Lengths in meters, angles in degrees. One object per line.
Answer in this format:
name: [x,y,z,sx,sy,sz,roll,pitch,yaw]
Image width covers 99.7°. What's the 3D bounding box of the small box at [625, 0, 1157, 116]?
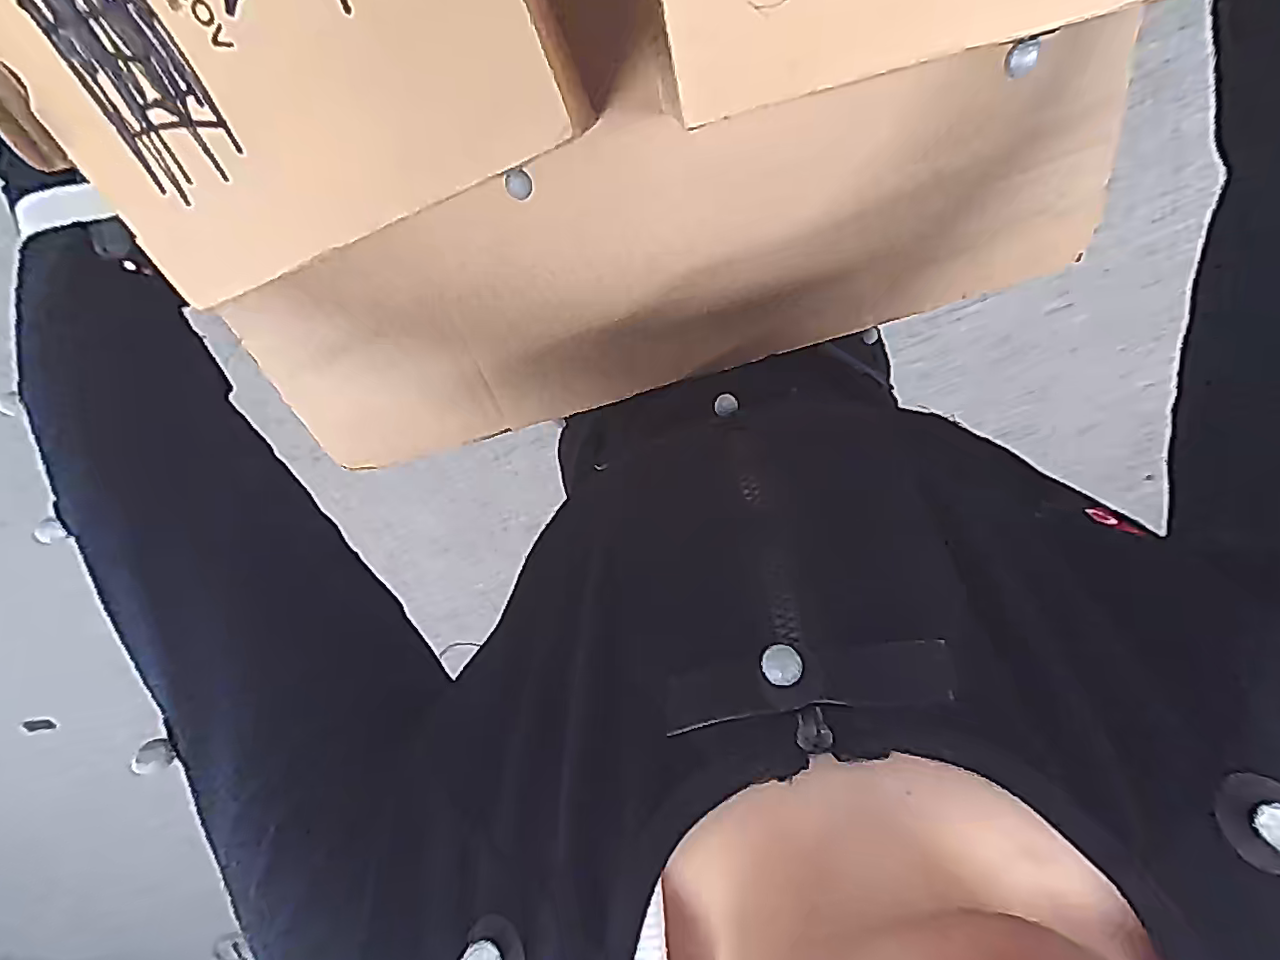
small box: [0.073,-0.253,0.203,0.179,0.176,0.168,-12,126,5]
